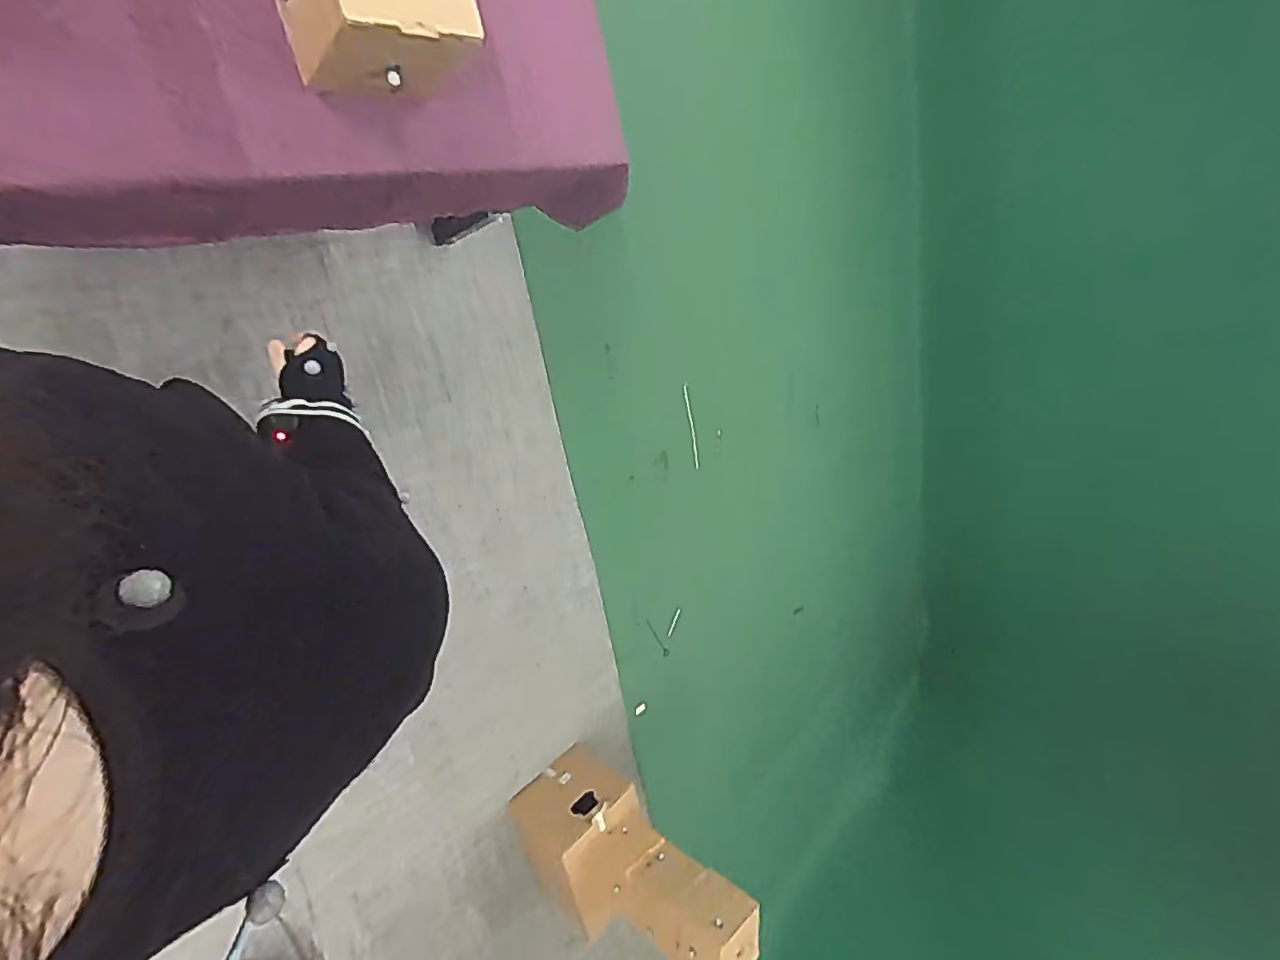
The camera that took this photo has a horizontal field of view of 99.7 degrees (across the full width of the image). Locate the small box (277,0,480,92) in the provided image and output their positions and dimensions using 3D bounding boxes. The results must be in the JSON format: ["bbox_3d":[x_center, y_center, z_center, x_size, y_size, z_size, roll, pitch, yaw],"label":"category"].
[{"bbox_3d":[-0.319,-0.589,0.634,0.168,0.176,0.179,-28,114,-38],"label":"small box"}]

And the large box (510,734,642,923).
[{"bbox_3d":[-0.207,1.204,1.906,0.320,0.320,0.408,-28,115,-38],"label":"large box"}]

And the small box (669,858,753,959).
[{"bbox_3d":[0.195,1.212,1.498,0.179,0.176,0.168,-9,102,-44],"label":"small box"}]

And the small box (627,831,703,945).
[{"bbox_3d":[0.074,1.202,1.610,0.168,0.176,0.179,-10,102,-44],"label":"small box"}]

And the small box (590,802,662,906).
[{"bbox_3d":[-0.044,1.179,1.720,0.168,0.176,0.179,-14,105,-43],"label":"small box"}]
